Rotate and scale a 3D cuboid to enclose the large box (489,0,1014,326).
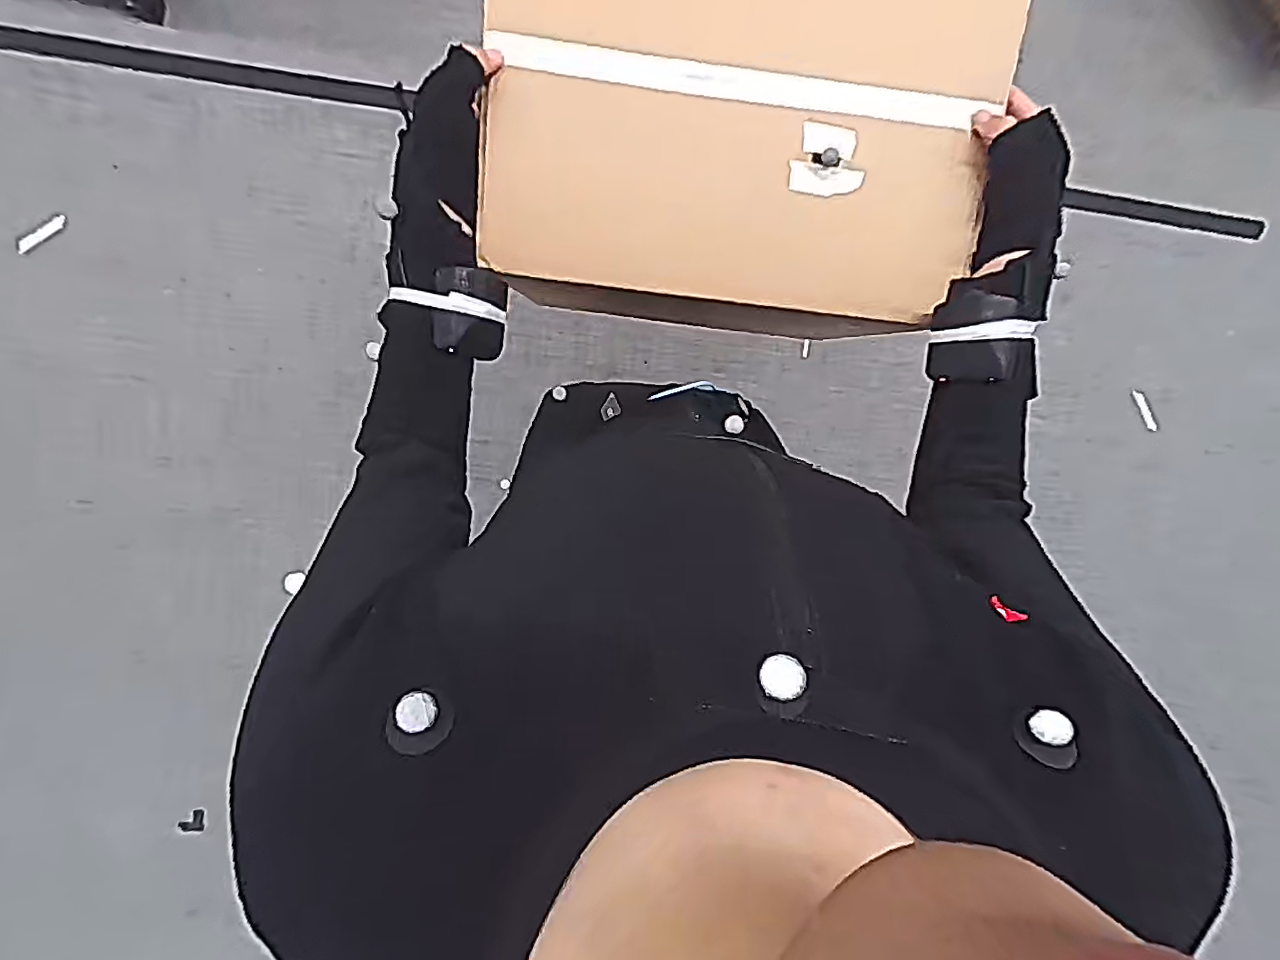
[{"bbox_3d":[0.075,-0.346,0.568,0.408,0.320,0.320,5,104,-5],"label":"large box"}]
